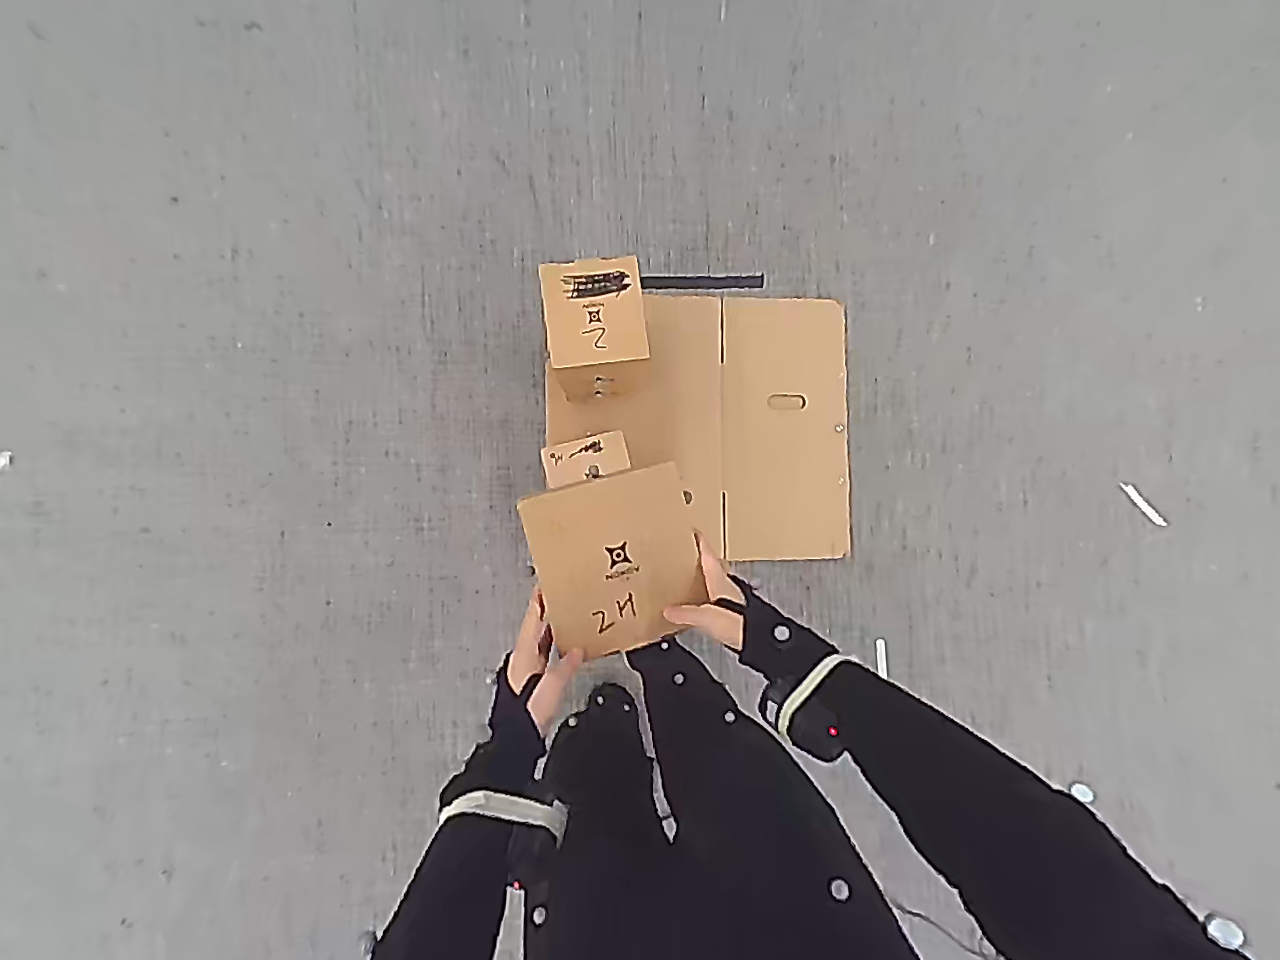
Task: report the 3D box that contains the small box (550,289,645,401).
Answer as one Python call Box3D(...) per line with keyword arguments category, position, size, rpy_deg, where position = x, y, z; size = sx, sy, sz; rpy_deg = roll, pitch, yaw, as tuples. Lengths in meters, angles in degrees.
Box3D(category="small box", position=(-0.090, -0.275, 1.131), size=(0.168, 0.176, 0.179), rpy_deg=(-10, 90, -4))

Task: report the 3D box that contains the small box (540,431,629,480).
Box3D(category="small box", position=(-0.100, 0.005, 1.121), size=(0.168, 0.176, 0.179), rpy_deg=(-14, 91, -5))

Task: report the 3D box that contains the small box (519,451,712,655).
Box3D(category="small box", position=(-0.036, 0.072, 0.624), size=(0.168, 0.176, 0.179), rpy_deg=(-15, 94, -8))
